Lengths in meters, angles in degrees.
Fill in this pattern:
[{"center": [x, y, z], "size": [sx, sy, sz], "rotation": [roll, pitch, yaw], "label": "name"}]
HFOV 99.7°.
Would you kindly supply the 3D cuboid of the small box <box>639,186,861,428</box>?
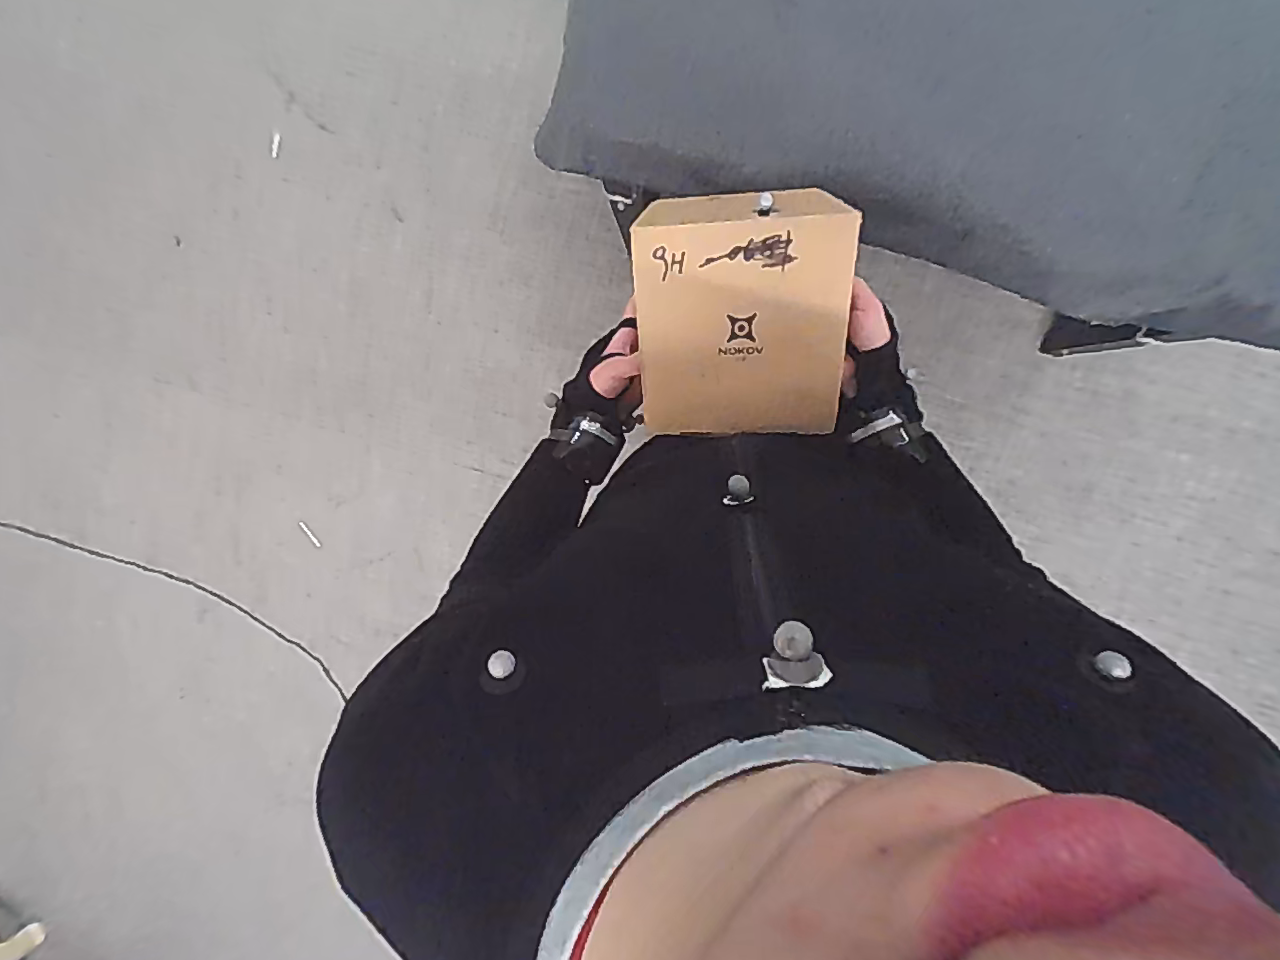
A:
[{"center": [0.093, -0.166, 0.511], "size": [0.168, 0.176, 0.179], "rotation": [0, 125, 7], "label": "small box"}]
